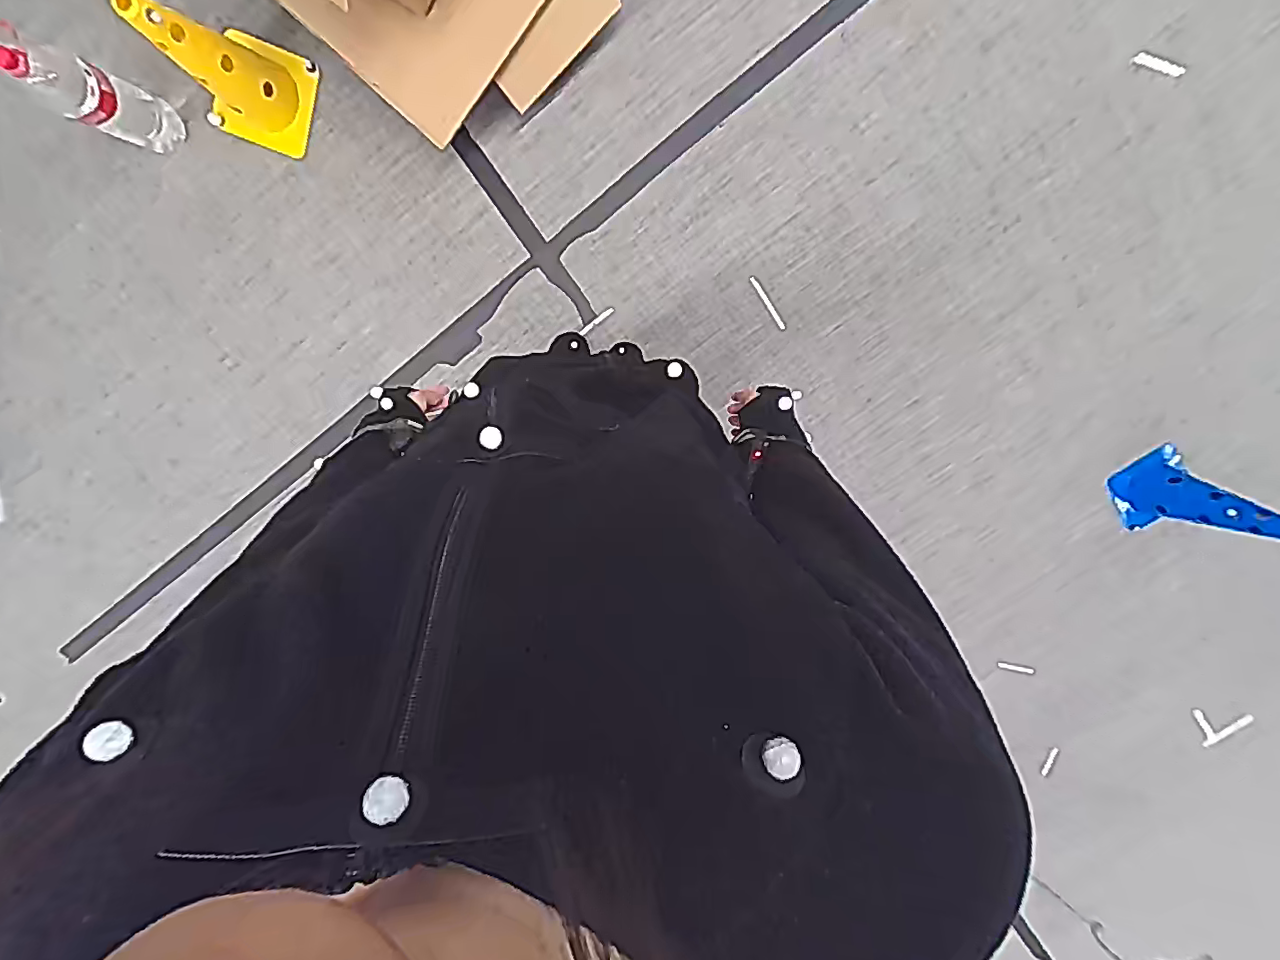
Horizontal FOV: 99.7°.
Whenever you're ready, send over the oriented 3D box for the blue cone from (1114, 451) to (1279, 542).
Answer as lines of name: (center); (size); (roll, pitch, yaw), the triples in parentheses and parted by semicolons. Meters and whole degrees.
blue cone: (1.441, 0.075, 1.355); (0.193, 0.380, 0.192); (-32, 105, 7)
